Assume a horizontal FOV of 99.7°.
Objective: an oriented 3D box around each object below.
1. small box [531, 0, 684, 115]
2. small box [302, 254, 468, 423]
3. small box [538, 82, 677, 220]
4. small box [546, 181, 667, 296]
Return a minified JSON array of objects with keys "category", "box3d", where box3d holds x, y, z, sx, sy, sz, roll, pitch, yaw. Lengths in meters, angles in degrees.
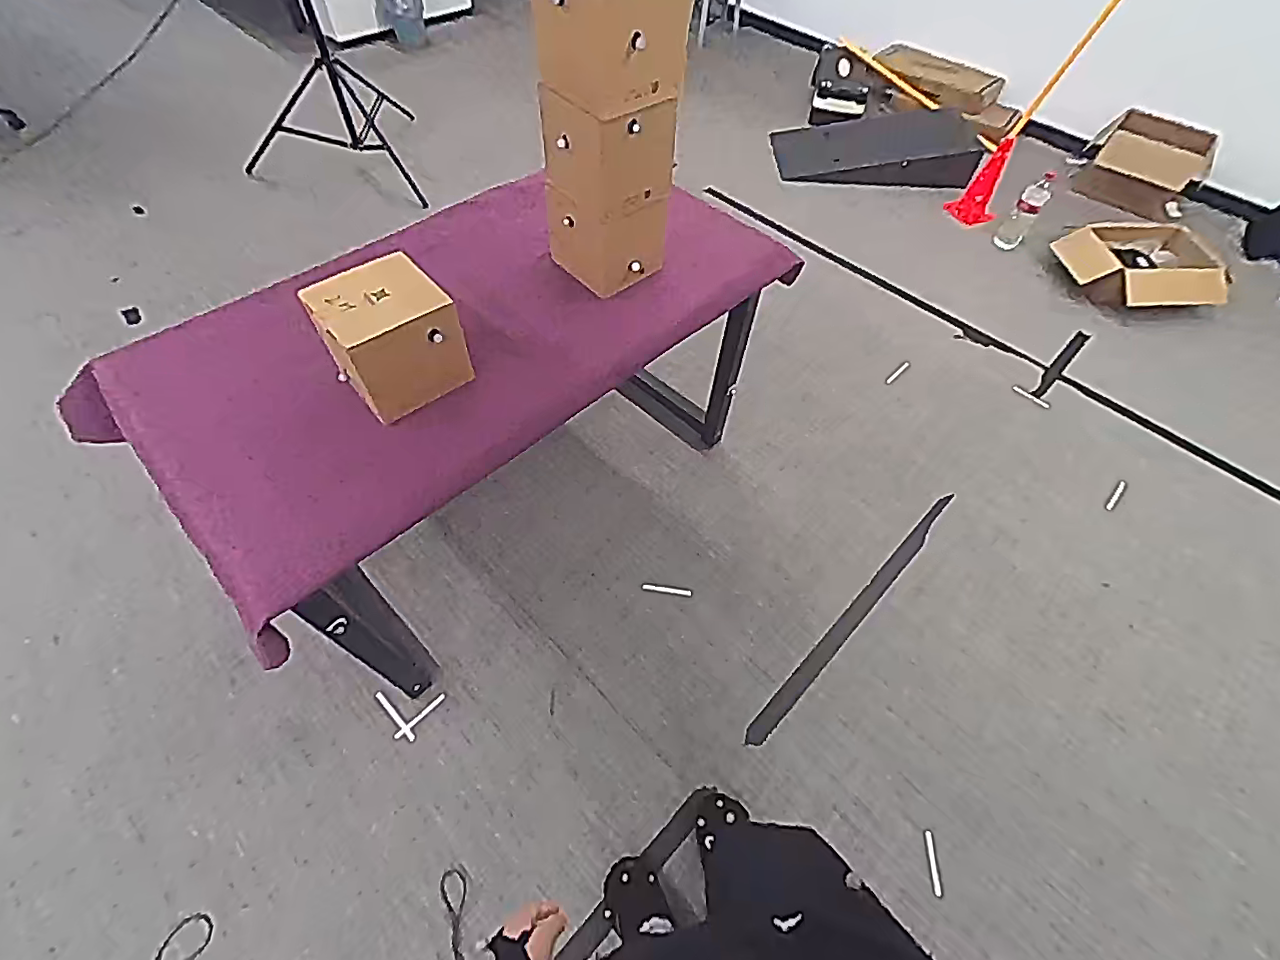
[{"category":"small box","box3d":[-0.045,-0.678,0.812,0.168,0.176,0.179,-35,64,-22]},{"category":"small box","box3d":[-0.403,-0.230,0.890,0.179,0.176,0.168,-36,65,-23]},{"category":"small box","box3d":[-0.057,-0.592,0.951,0.168,0.176,0.179,-35,64,-22]},{"category":"small box","box3d":[-0.068,-0.505,1.089,0.168,0.176,0.179,-37,66,-23]}]
